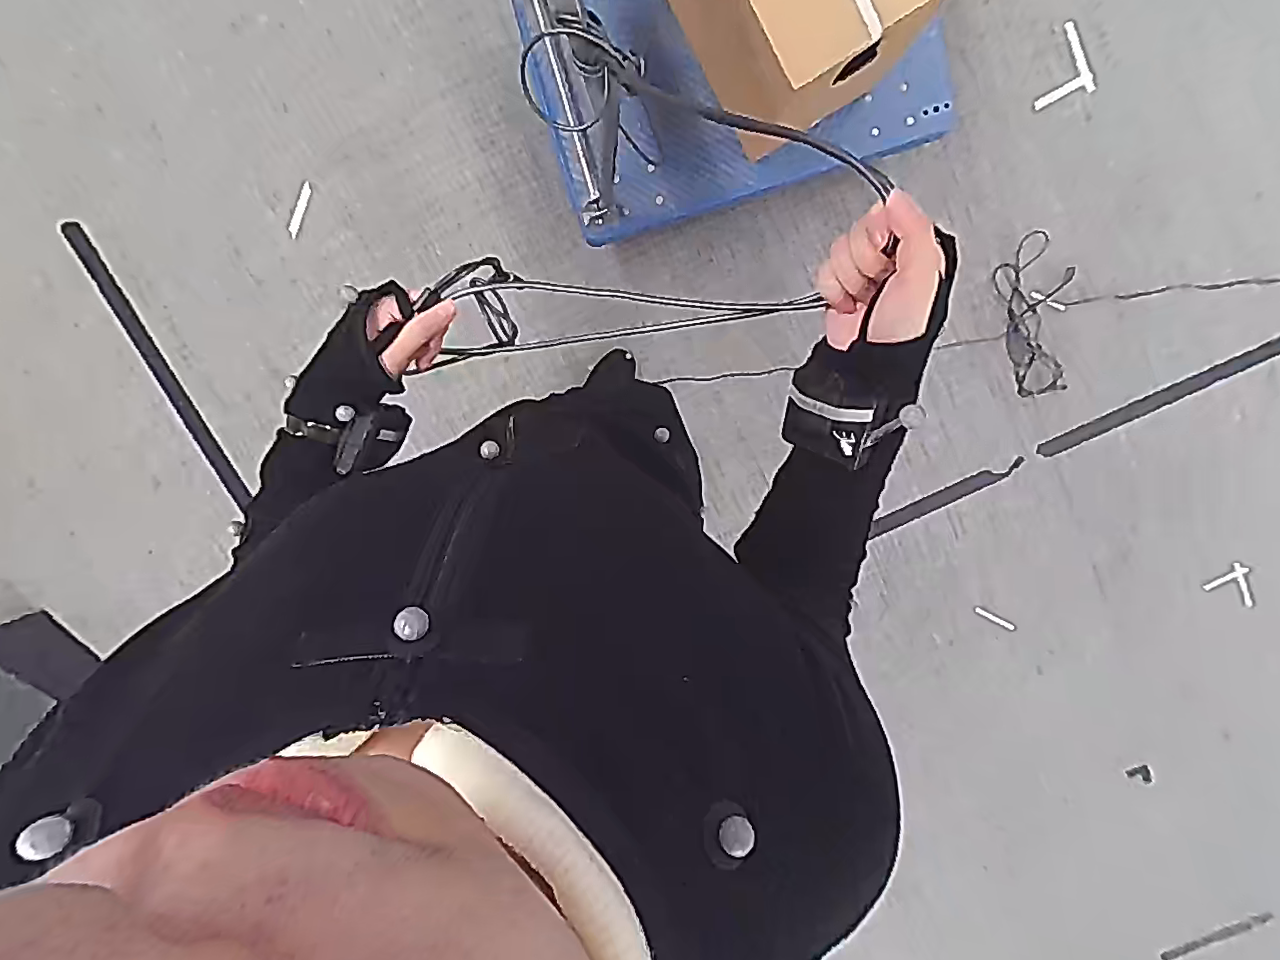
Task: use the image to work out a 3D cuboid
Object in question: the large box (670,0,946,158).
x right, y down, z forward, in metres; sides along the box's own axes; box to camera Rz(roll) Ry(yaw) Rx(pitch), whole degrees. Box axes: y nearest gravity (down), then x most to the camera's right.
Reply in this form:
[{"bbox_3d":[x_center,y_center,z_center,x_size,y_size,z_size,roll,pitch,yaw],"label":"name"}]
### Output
[{"bbox_3d":[0.281,-0.918,1.000,0.320,0.320,0.408,-31,101,5],"label":"large box"}]
